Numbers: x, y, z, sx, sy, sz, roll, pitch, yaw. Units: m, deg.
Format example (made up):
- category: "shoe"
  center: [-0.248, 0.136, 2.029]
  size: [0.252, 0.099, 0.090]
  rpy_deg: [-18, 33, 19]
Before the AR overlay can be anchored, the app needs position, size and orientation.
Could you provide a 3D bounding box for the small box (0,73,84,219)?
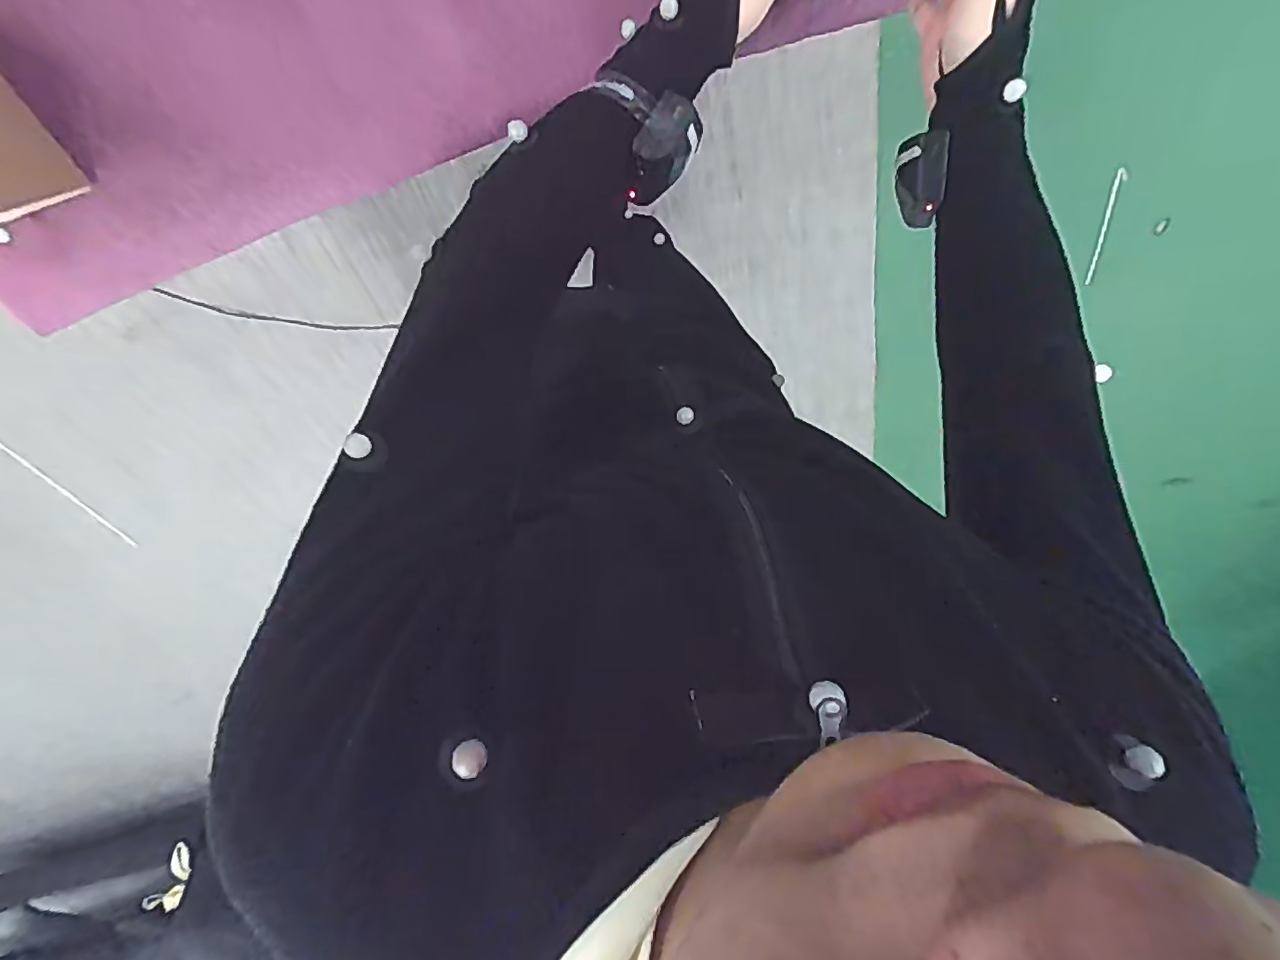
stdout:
- category: "small box"
  center: [-0.695, -0.319, 0.486]
  size: [0.168, 0.176, 0.179]
  rpy_deg: [-16, 129, 5]
